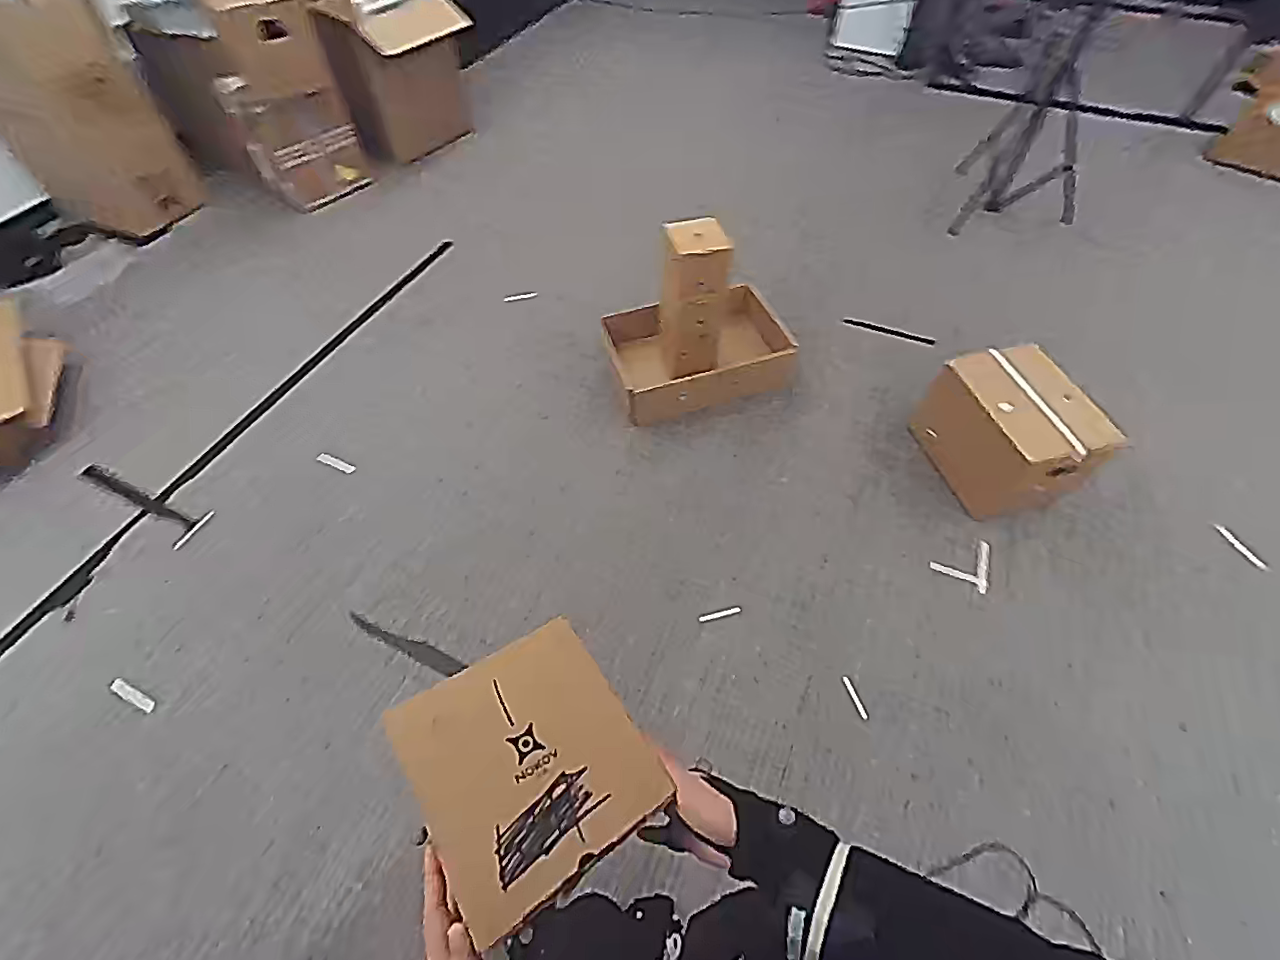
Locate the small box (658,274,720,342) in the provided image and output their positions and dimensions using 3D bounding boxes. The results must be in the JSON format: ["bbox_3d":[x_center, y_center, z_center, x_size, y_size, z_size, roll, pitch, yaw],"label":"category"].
[{"bbox_3d":[0.160,-0.585,1.822,0.168,0.176,0.179,-12,56,-9],"label":"small box"}]

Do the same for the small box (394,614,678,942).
[{"bbox_3d":[-0.095,0.259,0.482,0.168,0.176,0.179,-22,58,-29],"label":"small box"}]

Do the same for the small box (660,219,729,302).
[{"bbox_3d":[0.163,-0.686,1.694,0.168,0.176,0.179,-13,56,-9],"label":"small box"}]
